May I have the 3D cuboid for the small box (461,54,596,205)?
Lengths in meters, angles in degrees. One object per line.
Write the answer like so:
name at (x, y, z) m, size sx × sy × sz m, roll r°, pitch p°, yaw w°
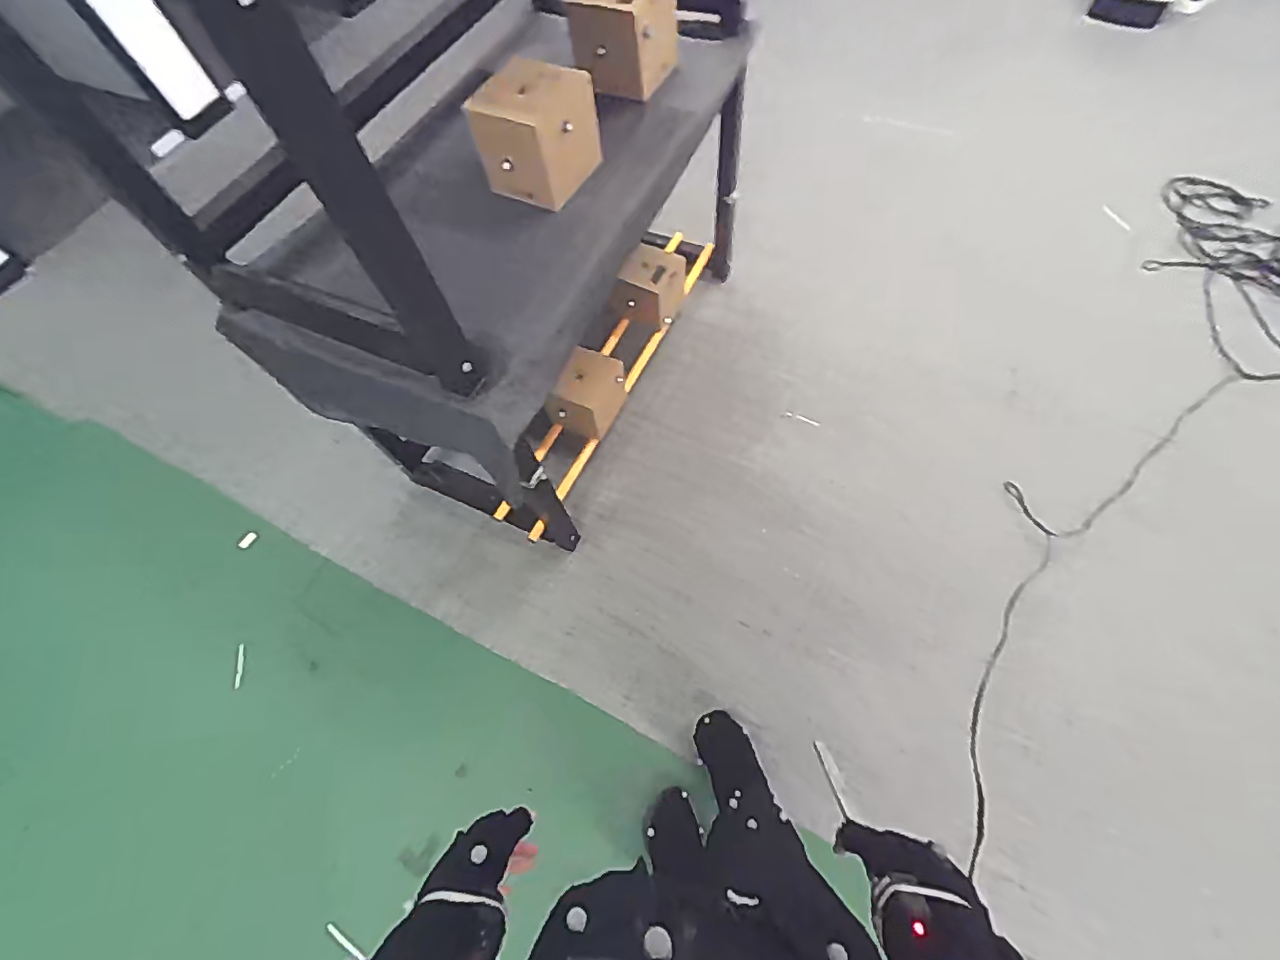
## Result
small box at (-0.199, -0.662, 1.032) m, size 0.168 × 0.176 × 0.179 m, roll 25°, pitch 69°, yaw 17°

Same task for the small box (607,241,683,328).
small box at (0.022, -0.601, 1.680) m, size 0.179 × 0.176 × 0.168 m, roll 25°, pitch 68°, yaw 16°
